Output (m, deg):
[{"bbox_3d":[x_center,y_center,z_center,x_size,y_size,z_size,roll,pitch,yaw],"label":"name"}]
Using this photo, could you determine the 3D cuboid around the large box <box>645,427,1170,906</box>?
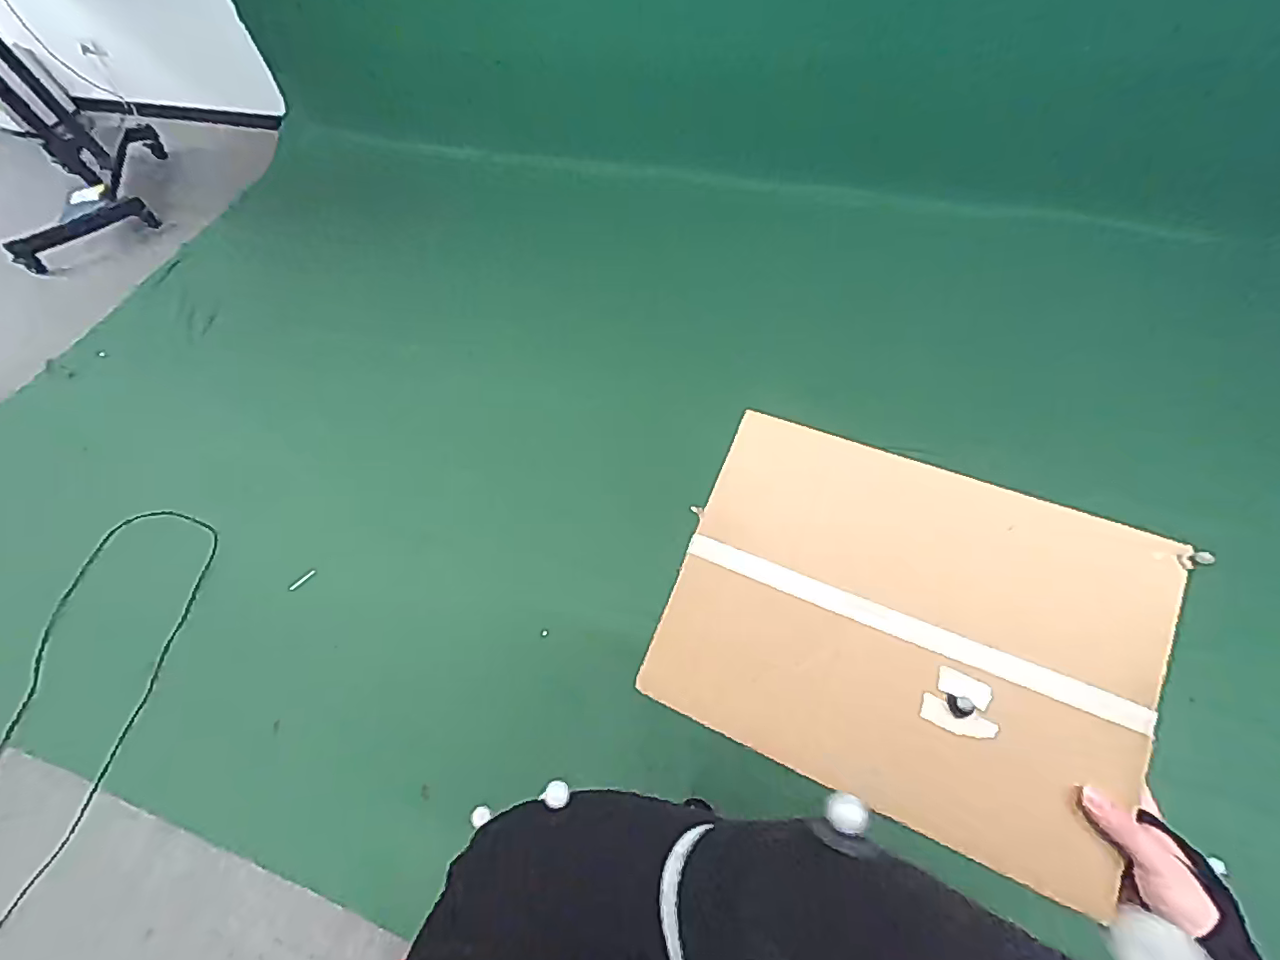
[{"bbox_3d":[0.264,0.179,0.645,0.408,0.320,0.320,20,80,16],"label":"large box"}]
